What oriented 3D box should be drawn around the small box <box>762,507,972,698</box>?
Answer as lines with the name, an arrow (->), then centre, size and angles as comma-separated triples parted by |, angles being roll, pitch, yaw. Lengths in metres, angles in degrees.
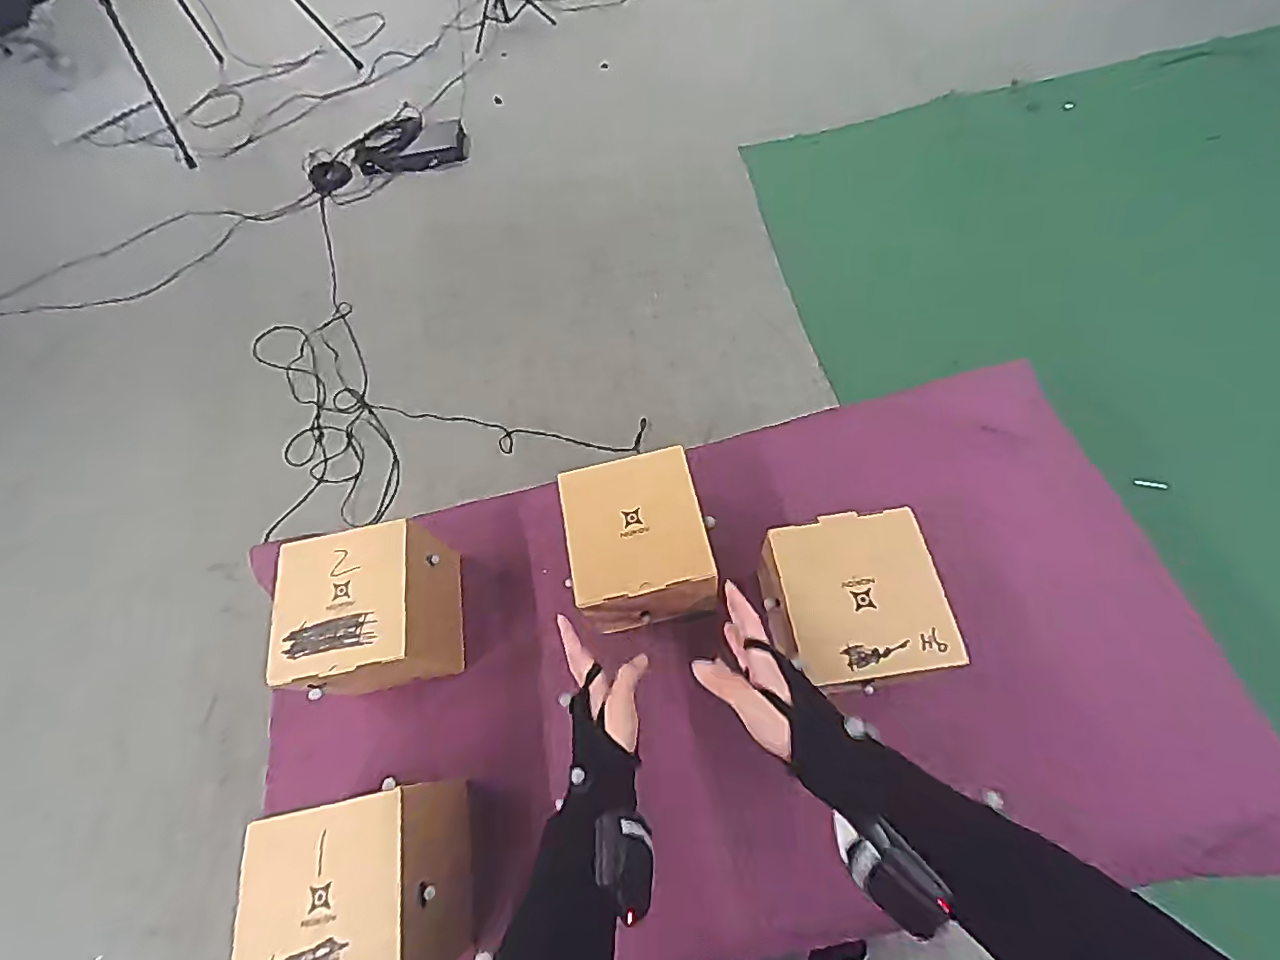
small box -> 0.250, 0.154, 0.651 | 0.168, 0.176, 0.179 | -9, 63, 3

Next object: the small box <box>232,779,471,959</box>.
small box -> -0.293, 0.438, 0.582 | 0.168, 0.176, 0.179 | -13, 62, 0

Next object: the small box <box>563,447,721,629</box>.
small box -> 0.004, 0.083, 0.719 | 0.168, 0.176, 0.179 | -13, 65, 0
